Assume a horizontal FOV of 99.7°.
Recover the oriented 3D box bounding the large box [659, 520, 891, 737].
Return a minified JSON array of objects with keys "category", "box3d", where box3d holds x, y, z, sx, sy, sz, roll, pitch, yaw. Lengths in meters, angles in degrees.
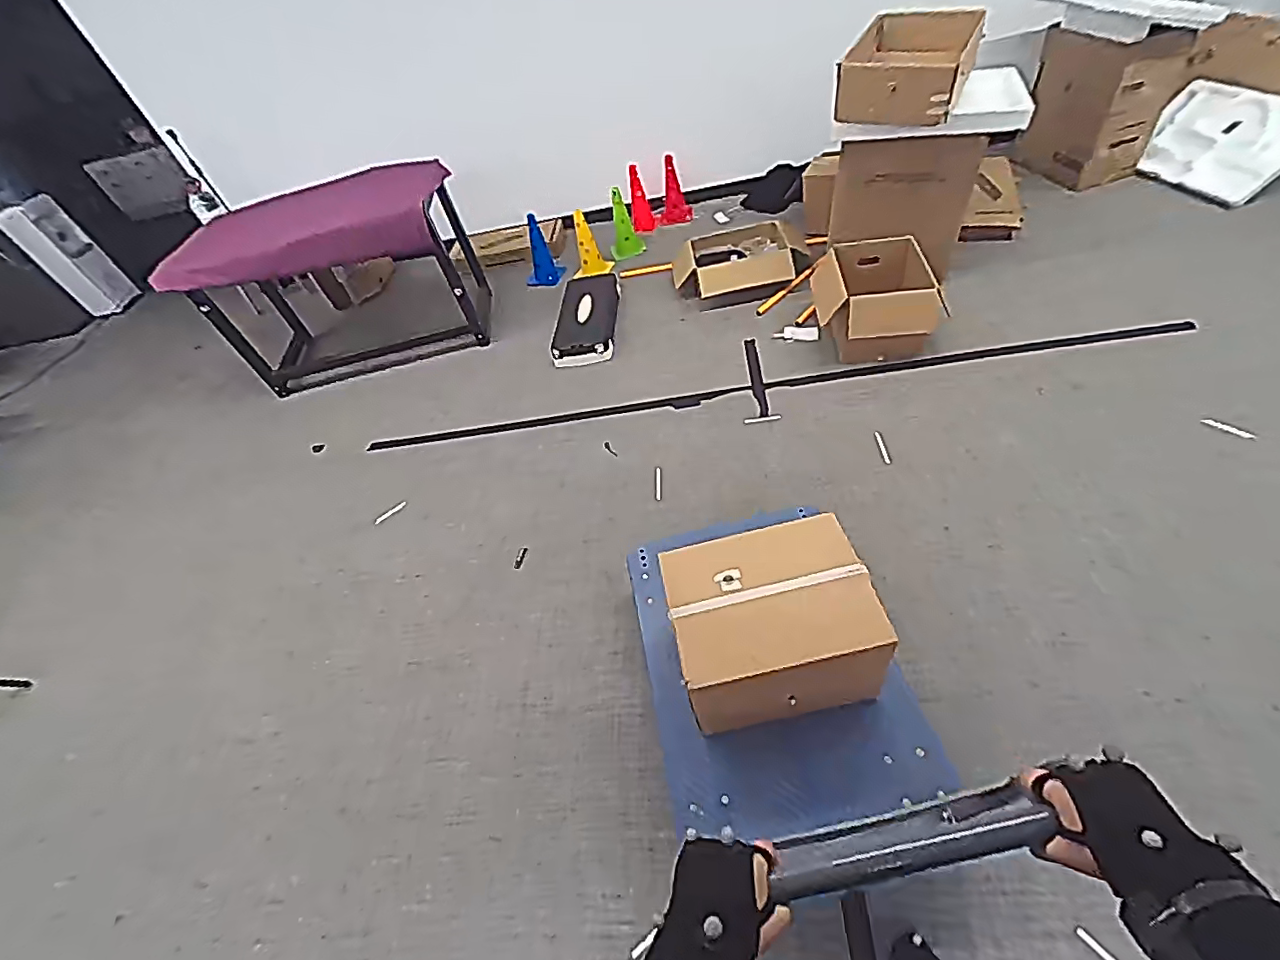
[{"category":"large box","box3d":[0.290,0.345,1.232,0.408,0.320,0.320,-15,47,3]}]
